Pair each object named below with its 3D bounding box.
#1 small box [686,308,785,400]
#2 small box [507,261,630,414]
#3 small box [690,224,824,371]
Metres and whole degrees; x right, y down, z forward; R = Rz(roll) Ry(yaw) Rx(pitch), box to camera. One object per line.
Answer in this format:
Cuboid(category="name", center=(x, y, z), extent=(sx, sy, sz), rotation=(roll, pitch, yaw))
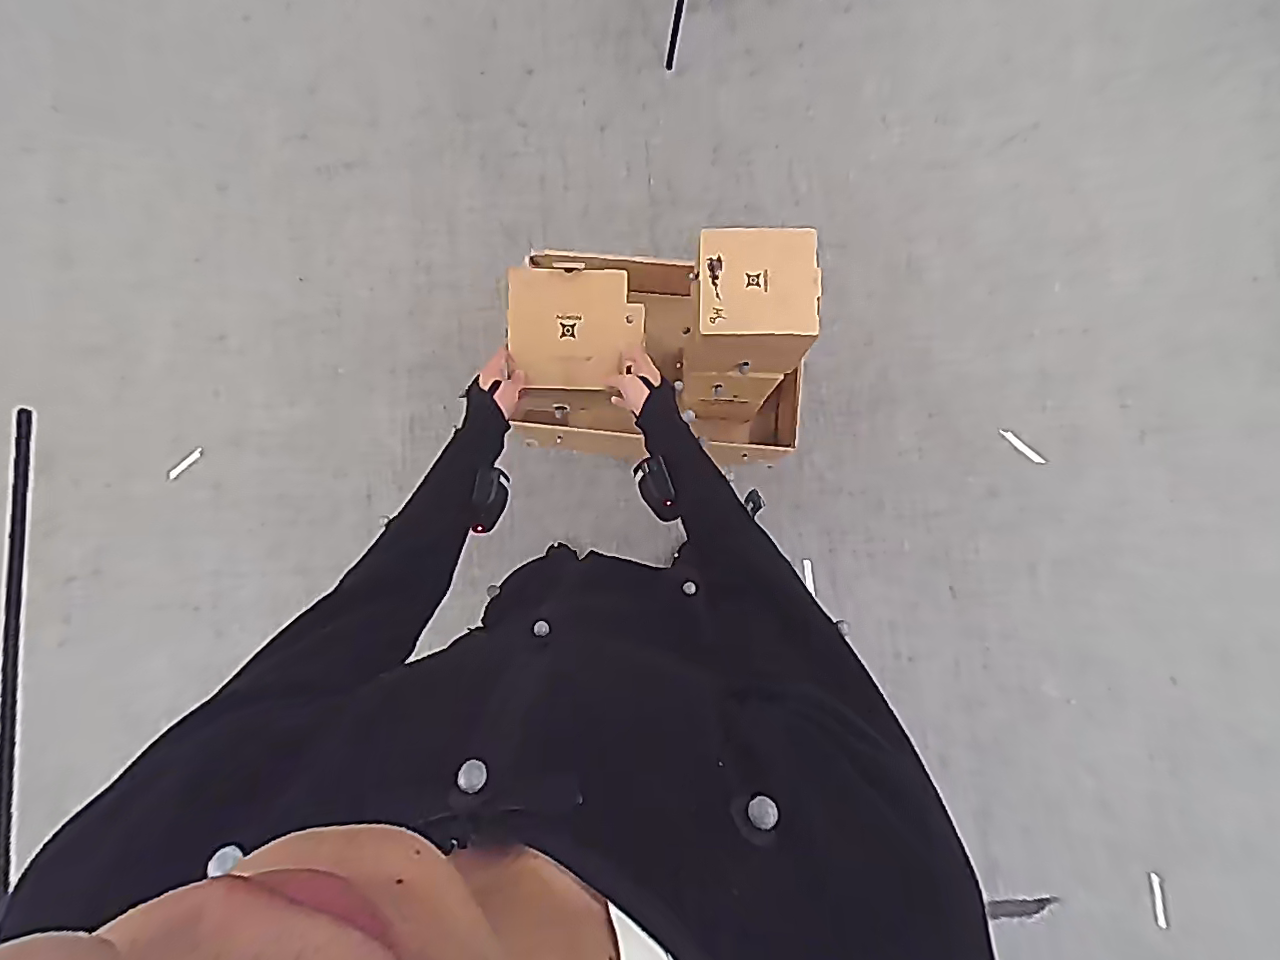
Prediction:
Cuboid(category="small box", center=(0.176, -0.256, 1.016), extent=(0.168, 0.176, 0.179), rotation=(3, 83, 1))
Cuboid(category="small box", center=(-0.104, -0.204, 0.815), extent=(0.168, 0.176, 0.179), rotation=(0, 86, -5))
Cuboid(category="small box", center=(0.176, -0.278, 0.853), extent=(0.179, 0.176, 0.168), rotation=(1, 83, 1))
